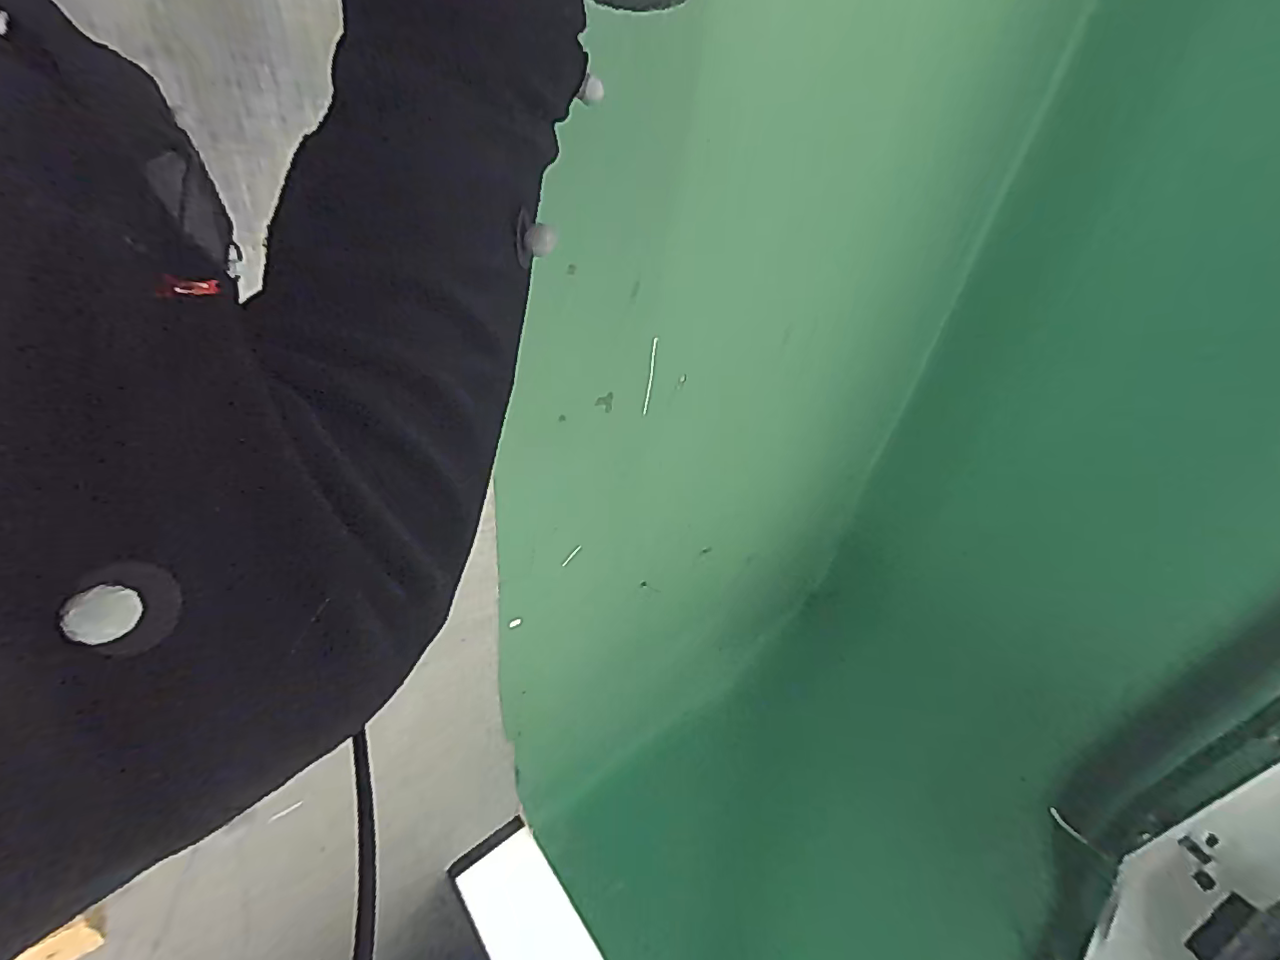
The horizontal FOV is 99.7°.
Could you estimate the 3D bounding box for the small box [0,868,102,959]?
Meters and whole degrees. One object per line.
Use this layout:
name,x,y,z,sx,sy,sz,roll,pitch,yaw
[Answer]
small box,-1.661,1.251,1.517,0.179,0.176,0.168,-20,134,-36
